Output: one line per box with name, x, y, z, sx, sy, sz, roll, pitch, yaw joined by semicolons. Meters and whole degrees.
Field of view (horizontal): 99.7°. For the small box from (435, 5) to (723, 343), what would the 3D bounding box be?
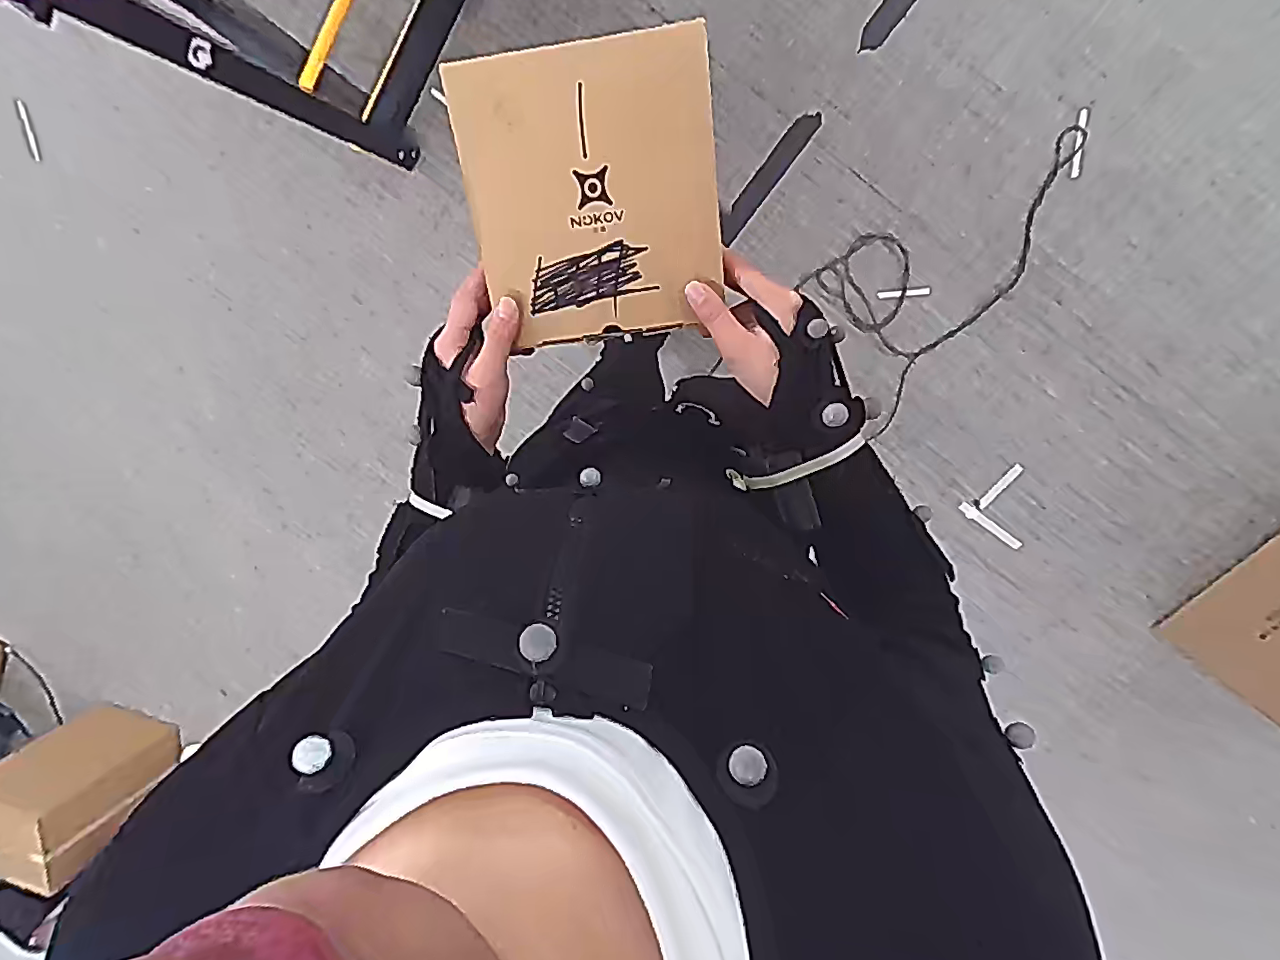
small box;-0.029;-0.213;0.417;0.168;0.176;0.179;-6;111;3
